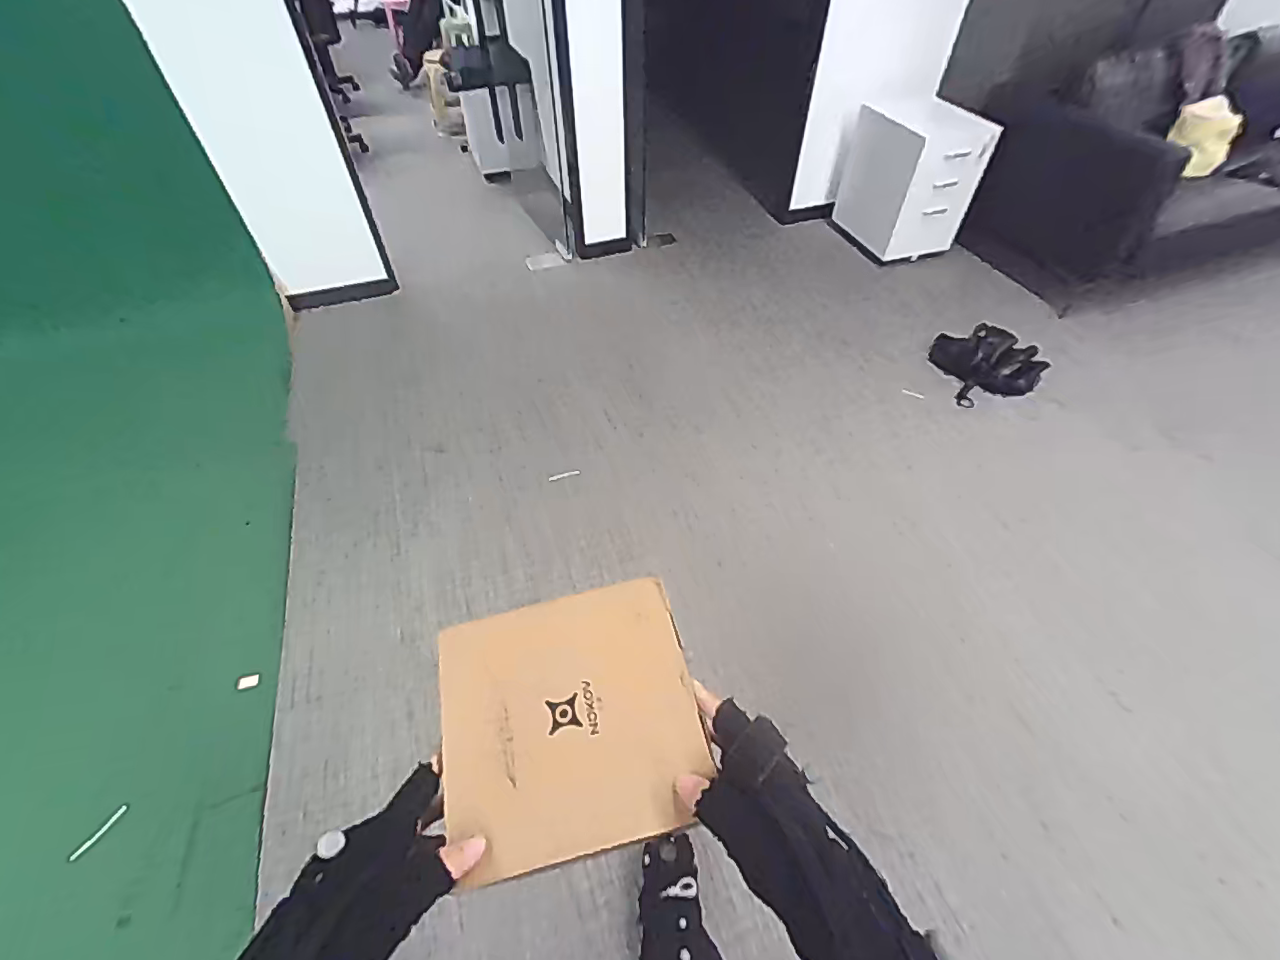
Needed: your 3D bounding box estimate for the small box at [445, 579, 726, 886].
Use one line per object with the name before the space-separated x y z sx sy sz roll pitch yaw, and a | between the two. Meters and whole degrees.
small box | -0.042 0.207 0.446 0.179 0.176 0.168 -15 55 -5
